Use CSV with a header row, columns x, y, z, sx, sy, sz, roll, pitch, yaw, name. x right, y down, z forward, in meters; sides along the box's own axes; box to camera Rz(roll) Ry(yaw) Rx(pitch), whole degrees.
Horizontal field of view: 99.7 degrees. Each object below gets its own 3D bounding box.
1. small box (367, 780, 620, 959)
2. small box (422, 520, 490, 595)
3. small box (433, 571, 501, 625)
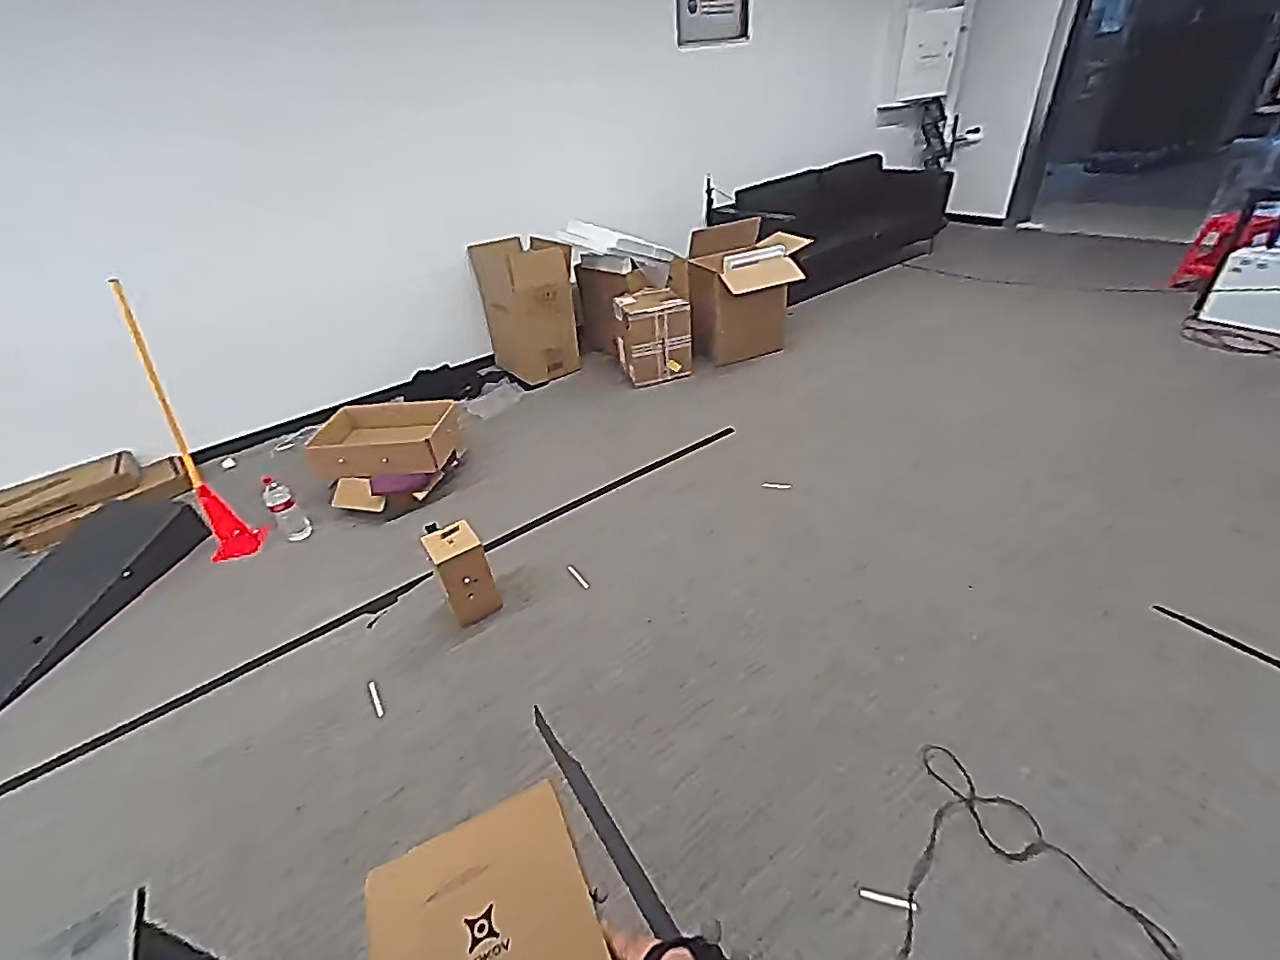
x,y,z,sx,sy,sz,roll,pitch,yaw,name
-0.109,0.408,0.456,0.168,0.176,0.179,-20,37,-19,small box
-0.658,0.278,1.938,0.168,0.176,0.179,-26,41,-25,small box
-0.650,0.410,2.037,0.179,0.176,0.168,-25,40,-25,small box
